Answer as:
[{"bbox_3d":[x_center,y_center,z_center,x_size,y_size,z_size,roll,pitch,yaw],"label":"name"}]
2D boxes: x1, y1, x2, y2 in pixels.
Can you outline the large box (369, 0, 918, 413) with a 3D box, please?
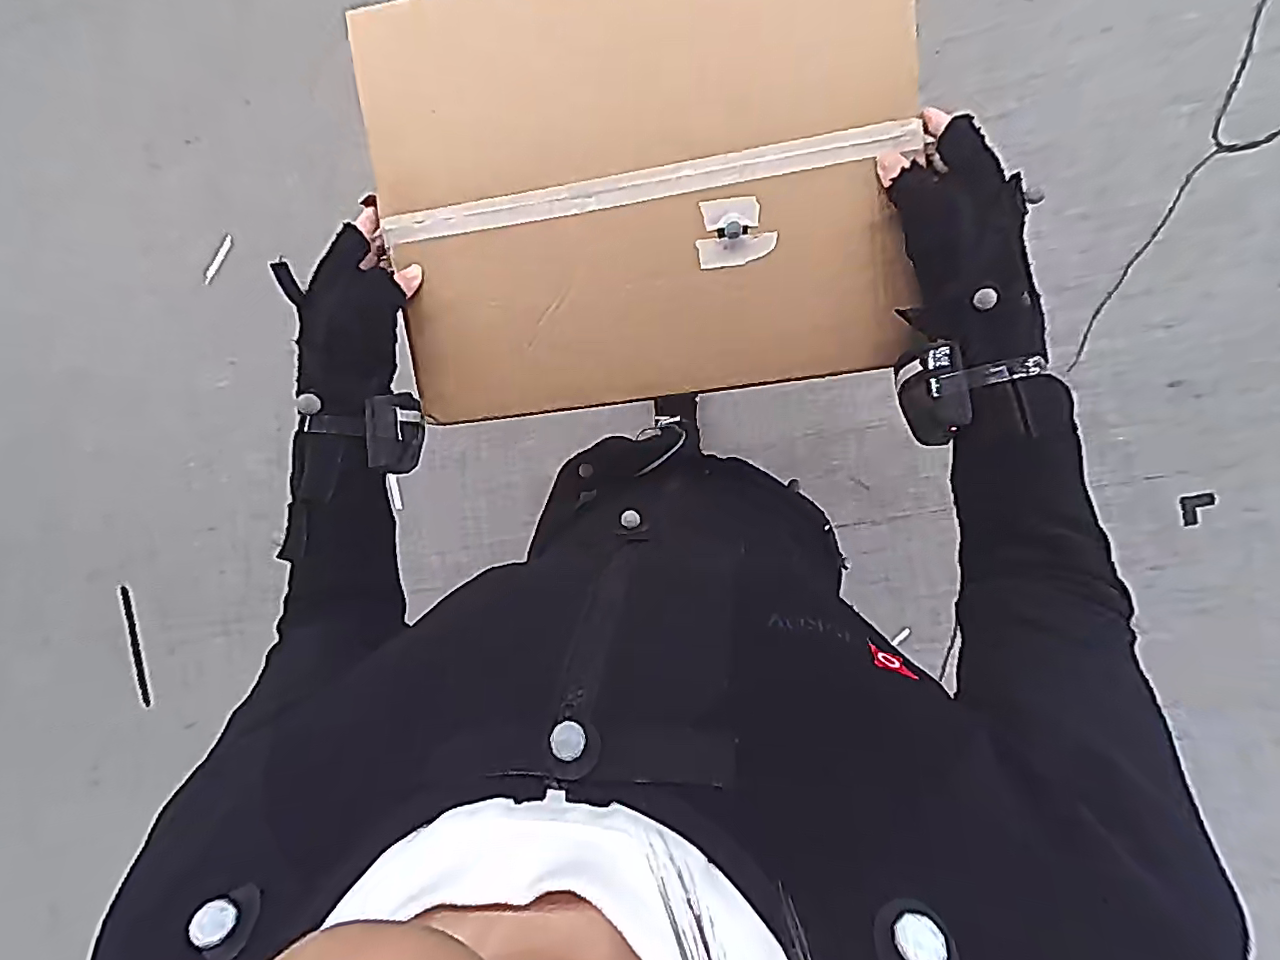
[{"bbox_3d":[0.014,-0.256,0.567,0.408,0.320,0.320,-7,100,7],"label":"large box"}]
